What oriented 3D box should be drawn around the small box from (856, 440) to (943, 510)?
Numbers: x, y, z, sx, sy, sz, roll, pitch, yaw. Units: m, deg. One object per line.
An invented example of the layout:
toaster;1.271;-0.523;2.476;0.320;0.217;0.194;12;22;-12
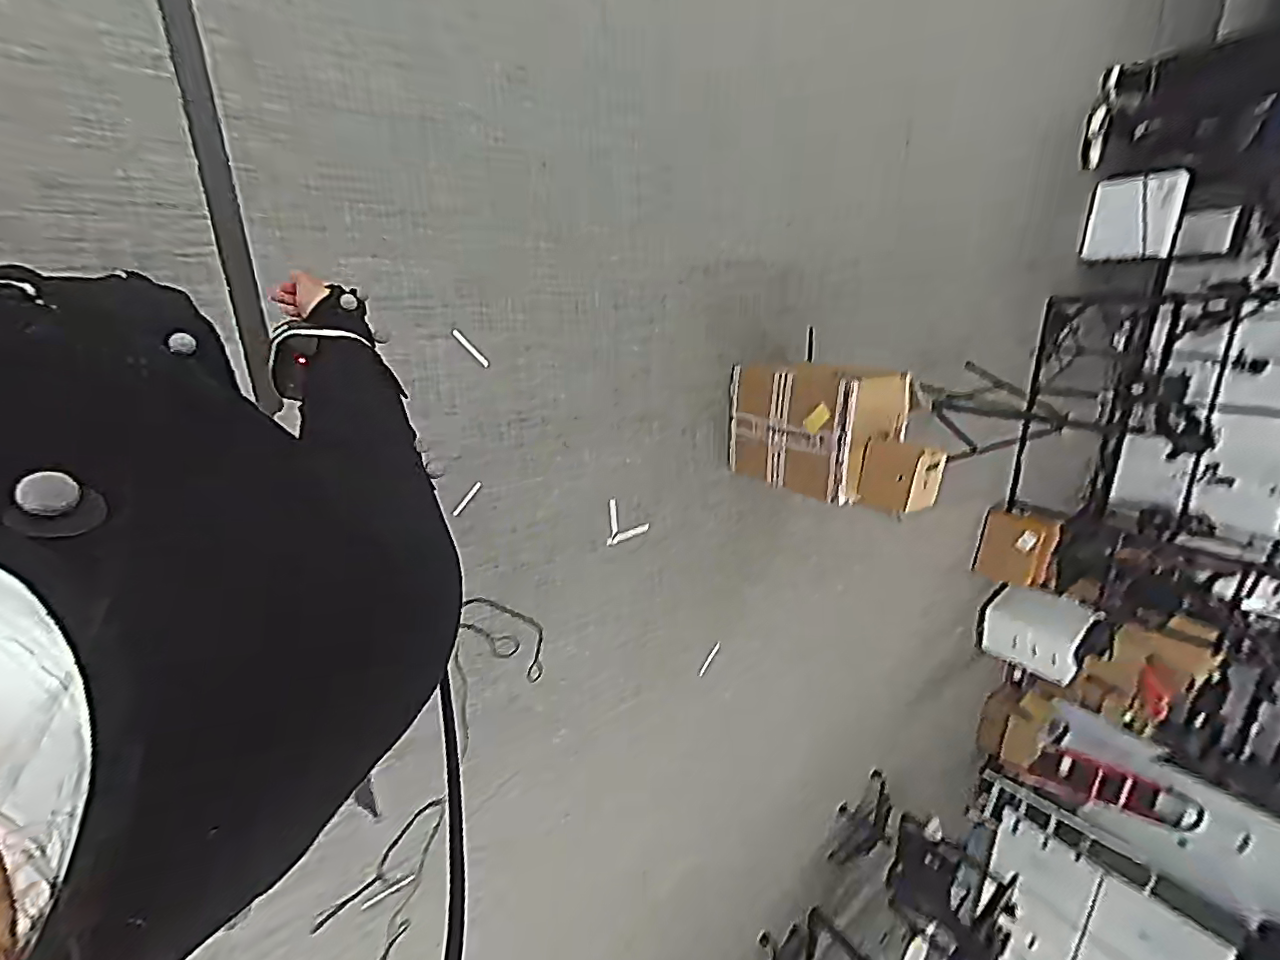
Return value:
small box;0.802;-0.024;1.683;0.168;0.176;0.179;-7;112;-34
